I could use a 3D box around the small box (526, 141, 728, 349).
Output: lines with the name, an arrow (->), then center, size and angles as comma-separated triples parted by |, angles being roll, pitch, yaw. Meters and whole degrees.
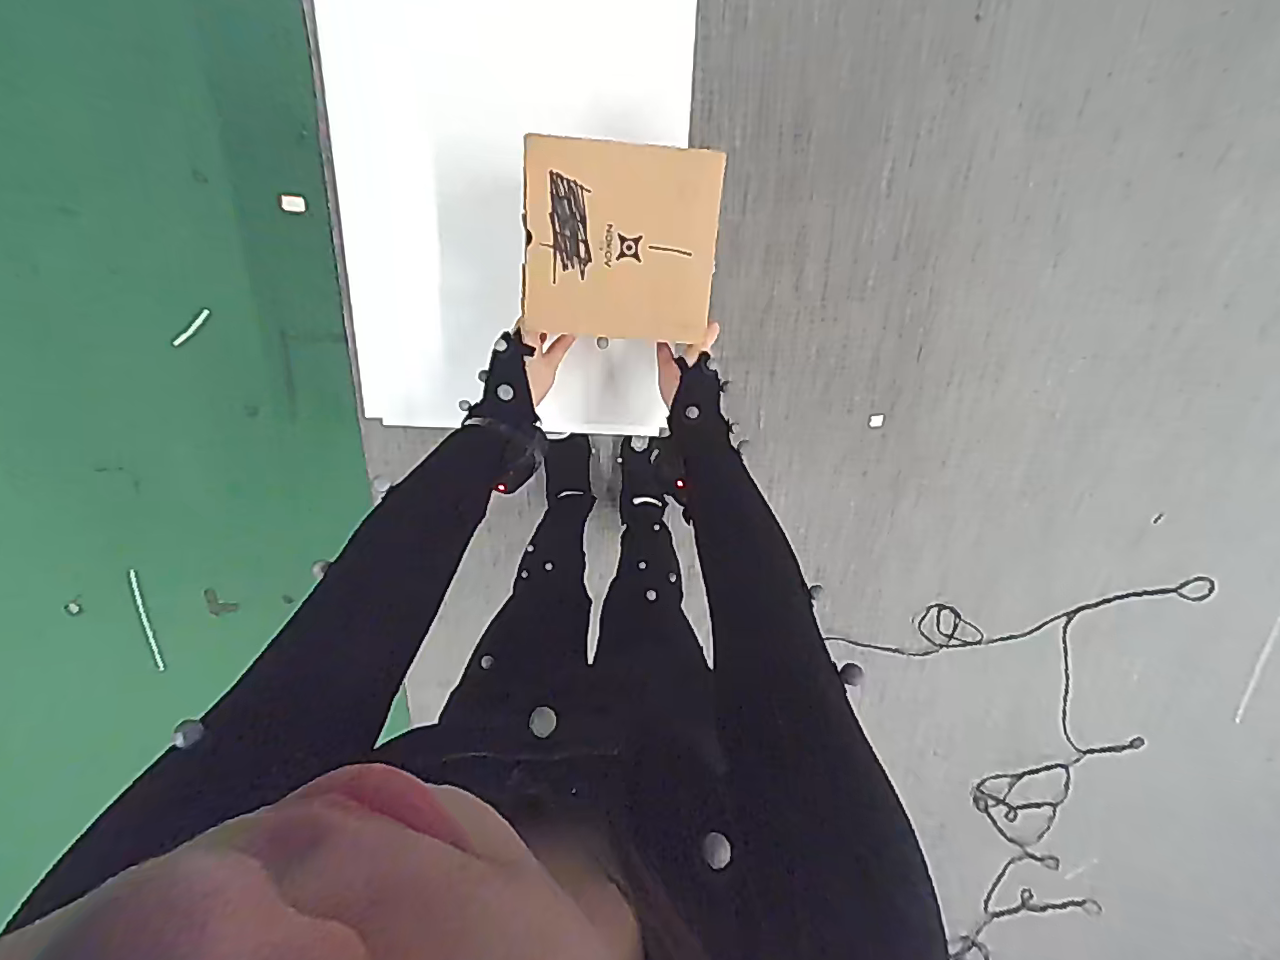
small box -> -0.017, -0.235, 0.573 | 0.179, 0.176, 0.168 | 4, 108, -3
